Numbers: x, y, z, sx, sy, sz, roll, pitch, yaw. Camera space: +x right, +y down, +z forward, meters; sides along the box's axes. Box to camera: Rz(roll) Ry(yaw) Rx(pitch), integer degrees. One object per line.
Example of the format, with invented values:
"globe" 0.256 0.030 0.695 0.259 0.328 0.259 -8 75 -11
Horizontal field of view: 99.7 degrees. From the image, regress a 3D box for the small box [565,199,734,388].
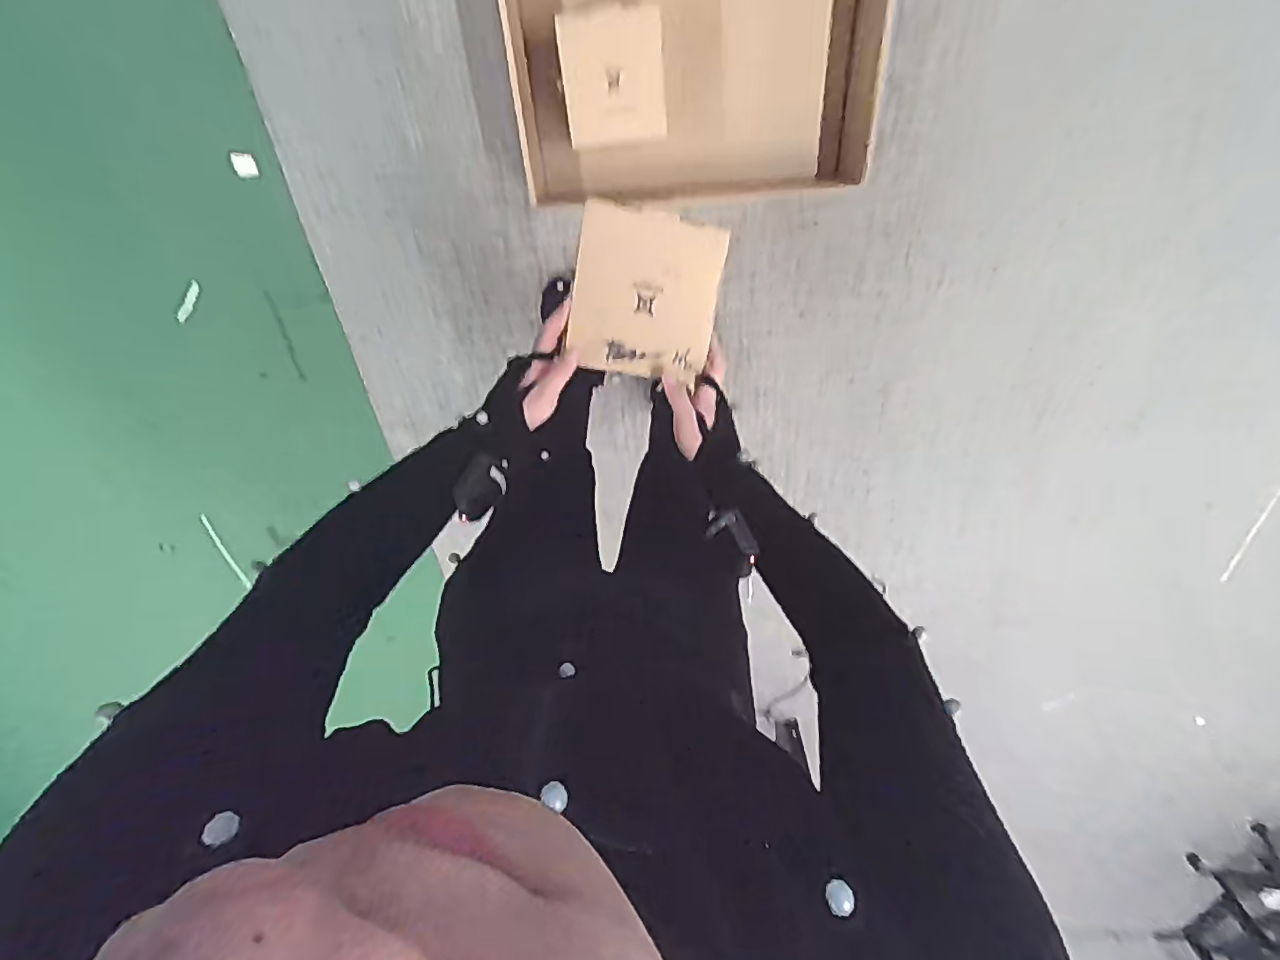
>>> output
"small box" -0.001 -0.217 0.671 0.168 0.176 0.179 8 102 -11
